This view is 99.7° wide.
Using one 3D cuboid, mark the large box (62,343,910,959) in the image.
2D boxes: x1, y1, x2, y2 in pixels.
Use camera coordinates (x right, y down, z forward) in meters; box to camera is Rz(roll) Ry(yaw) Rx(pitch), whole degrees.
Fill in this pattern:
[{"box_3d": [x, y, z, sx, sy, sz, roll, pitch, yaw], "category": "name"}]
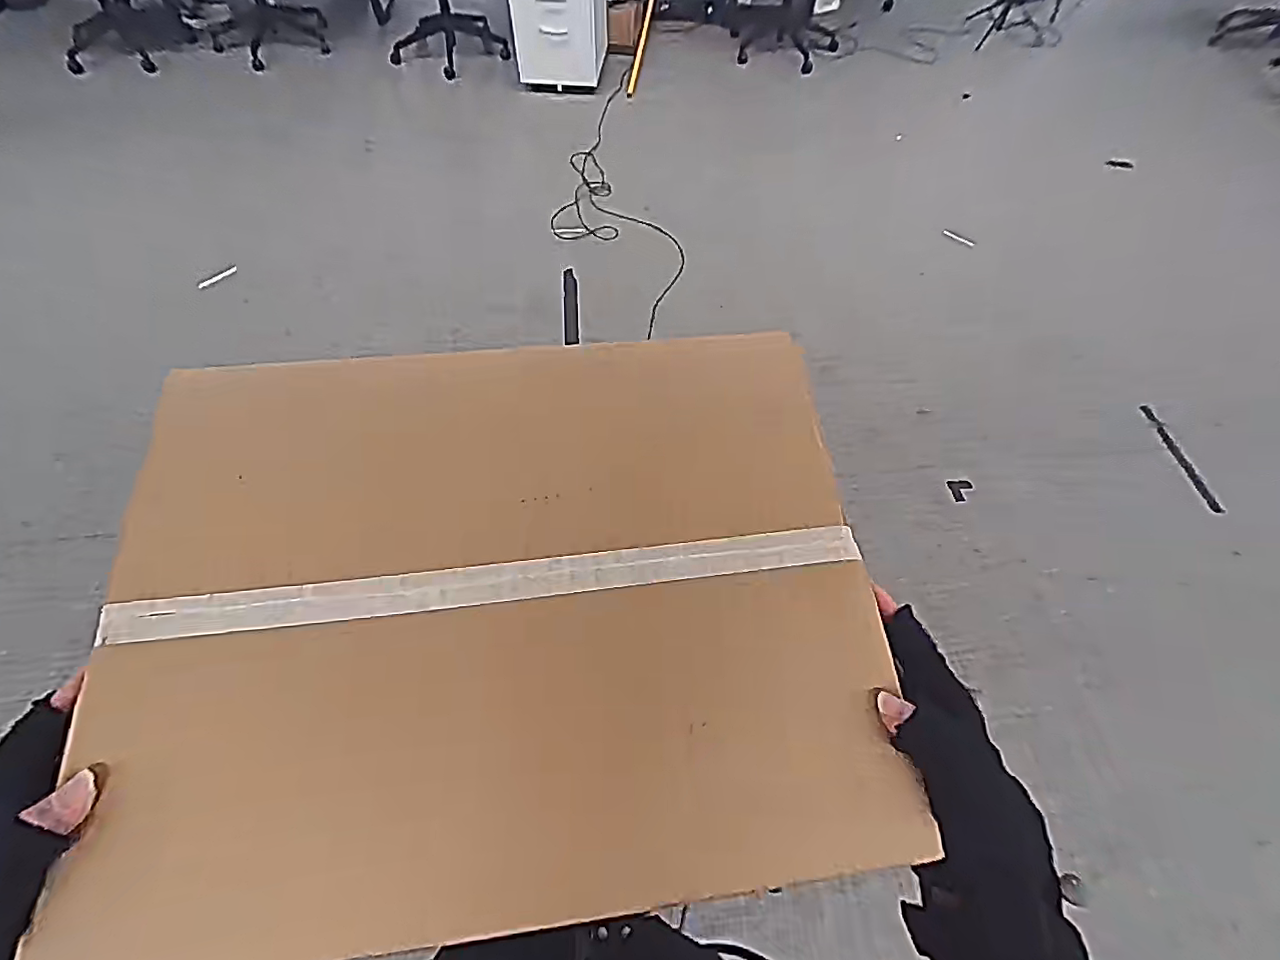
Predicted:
[{"box_3d": [-0.083, 0.120, 0.446, 0.408, 0.320, 0.320, -6, 66, -6], "category": "large box"}]
